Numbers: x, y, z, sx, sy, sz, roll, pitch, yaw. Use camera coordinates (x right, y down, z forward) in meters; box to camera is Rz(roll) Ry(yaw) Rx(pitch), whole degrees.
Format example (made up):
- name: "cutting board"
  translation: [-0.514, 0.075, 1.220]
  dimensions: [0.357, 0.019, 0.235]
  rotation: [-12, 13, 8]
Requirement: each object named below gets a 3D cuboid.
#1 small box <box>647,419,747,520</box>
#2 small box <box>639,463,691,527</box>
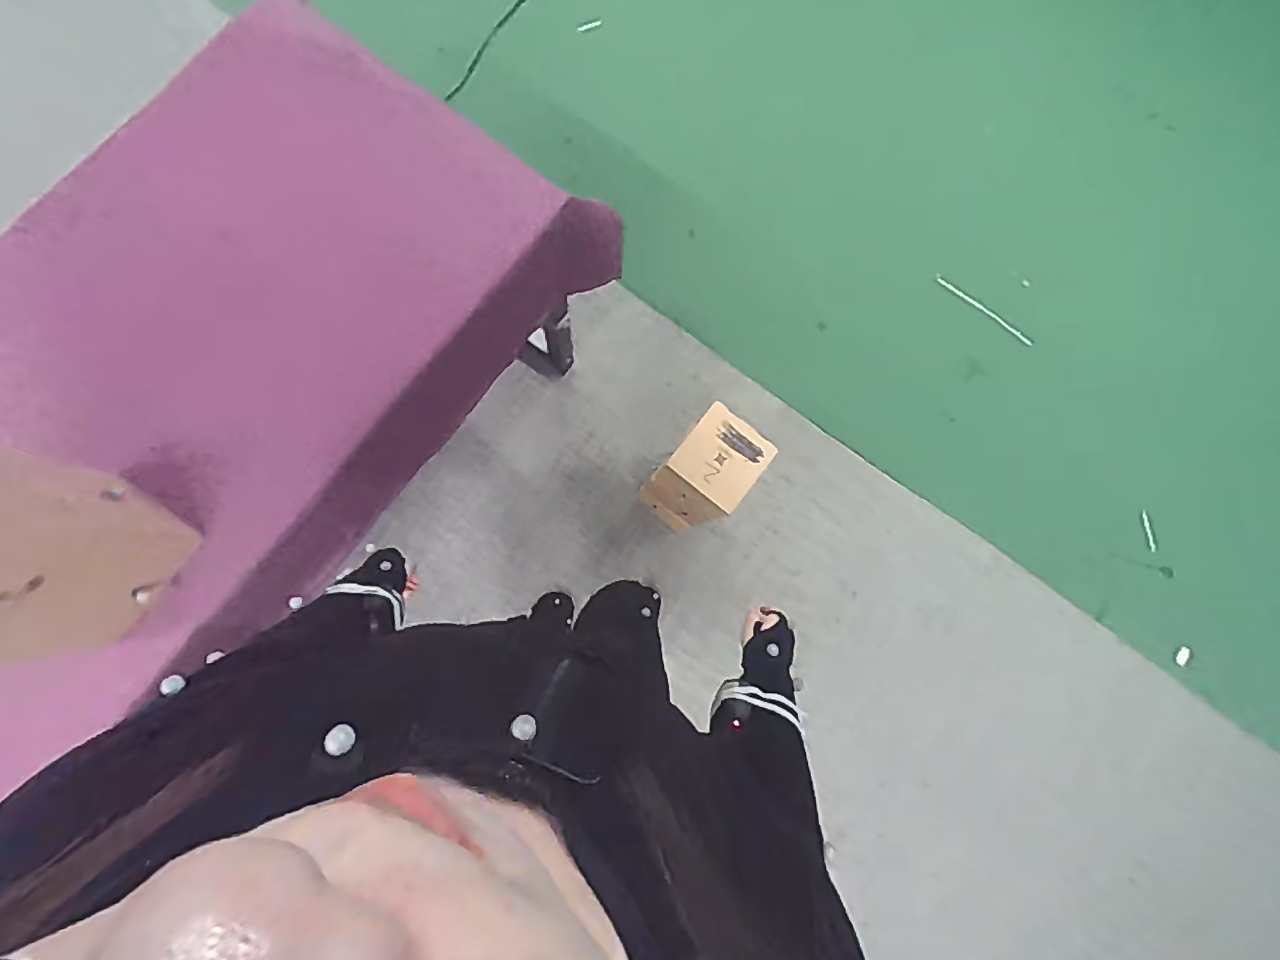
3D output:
- name: "small box"
  translation: [0.131, -0.017, 1.326]
  dimensions: [0.168, 0.176, 0.179]
  rotation: [38, 79, 0]
- name: "small box"
  translation: [0.109, 0.013, 1.485]
  dimensions: [0.168, 0.176, 0.179]
  rotation: [40, 79, 2]
